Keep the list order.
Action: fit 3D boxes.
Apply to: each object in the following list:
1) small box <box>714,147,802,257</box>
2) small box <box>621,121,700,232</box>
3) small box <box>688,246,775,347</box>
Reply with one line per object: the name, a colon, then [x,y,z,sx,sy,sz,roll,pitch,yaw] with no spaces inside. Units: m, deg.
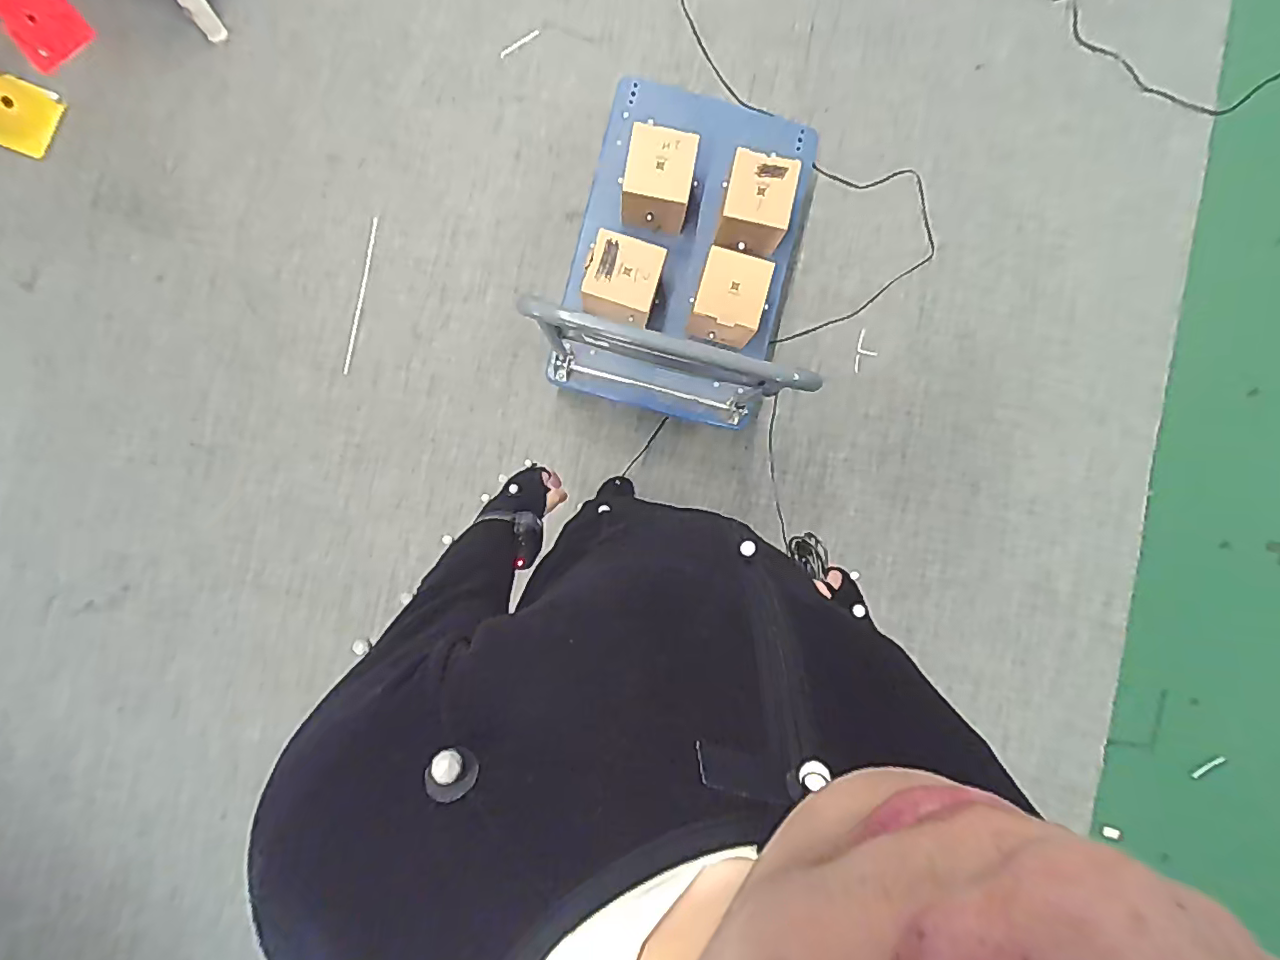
small box: [0.297,-0.710,1.398,0.168,0.176,0.179,13,90,-2]
small box: [0.048,-0.767,1.387,0.168,0.176,0.179,11,89,-3]
small box: [0.228,-0.466,1.394,0.168,0.176,0.179,16,90,-2]
